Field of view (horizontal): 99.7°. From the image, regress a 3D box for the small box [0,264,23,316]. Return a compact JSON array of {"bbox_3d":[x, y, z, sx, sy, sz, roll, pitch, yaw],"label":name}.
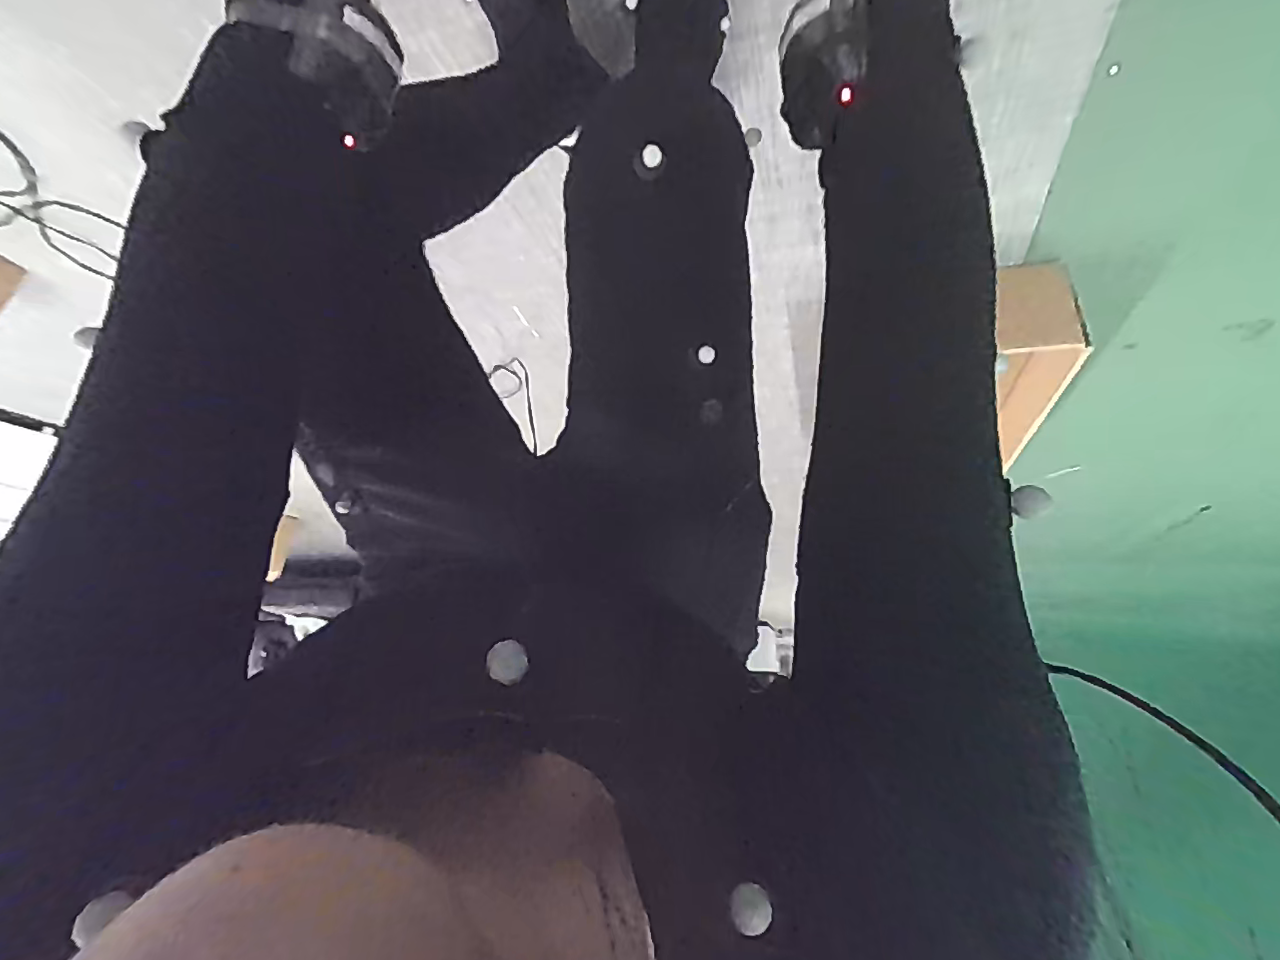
[{"bbox_3d":[-1.517,-0.411,1.177,0.179,0.176,0.168,-8,154,28],"label":"small box"}]
